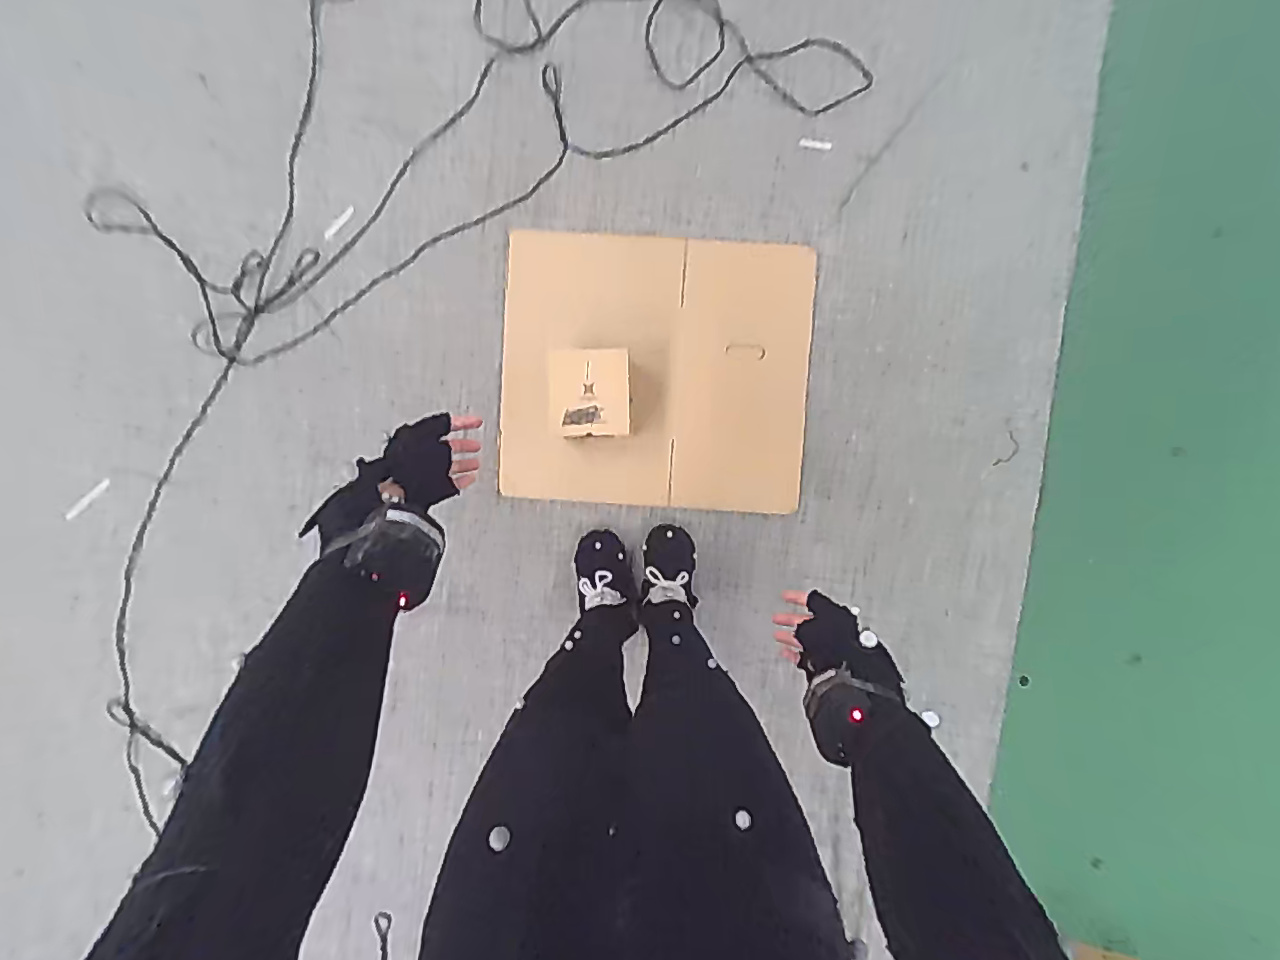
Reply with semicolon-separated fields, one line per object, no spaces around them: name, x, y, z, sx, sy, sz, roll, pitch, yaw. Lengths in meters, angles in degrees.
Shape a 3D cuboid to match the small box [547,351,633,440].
small box;-0.101;-0.174;1.157;0.168;0.176;0.179;-1;92;2
